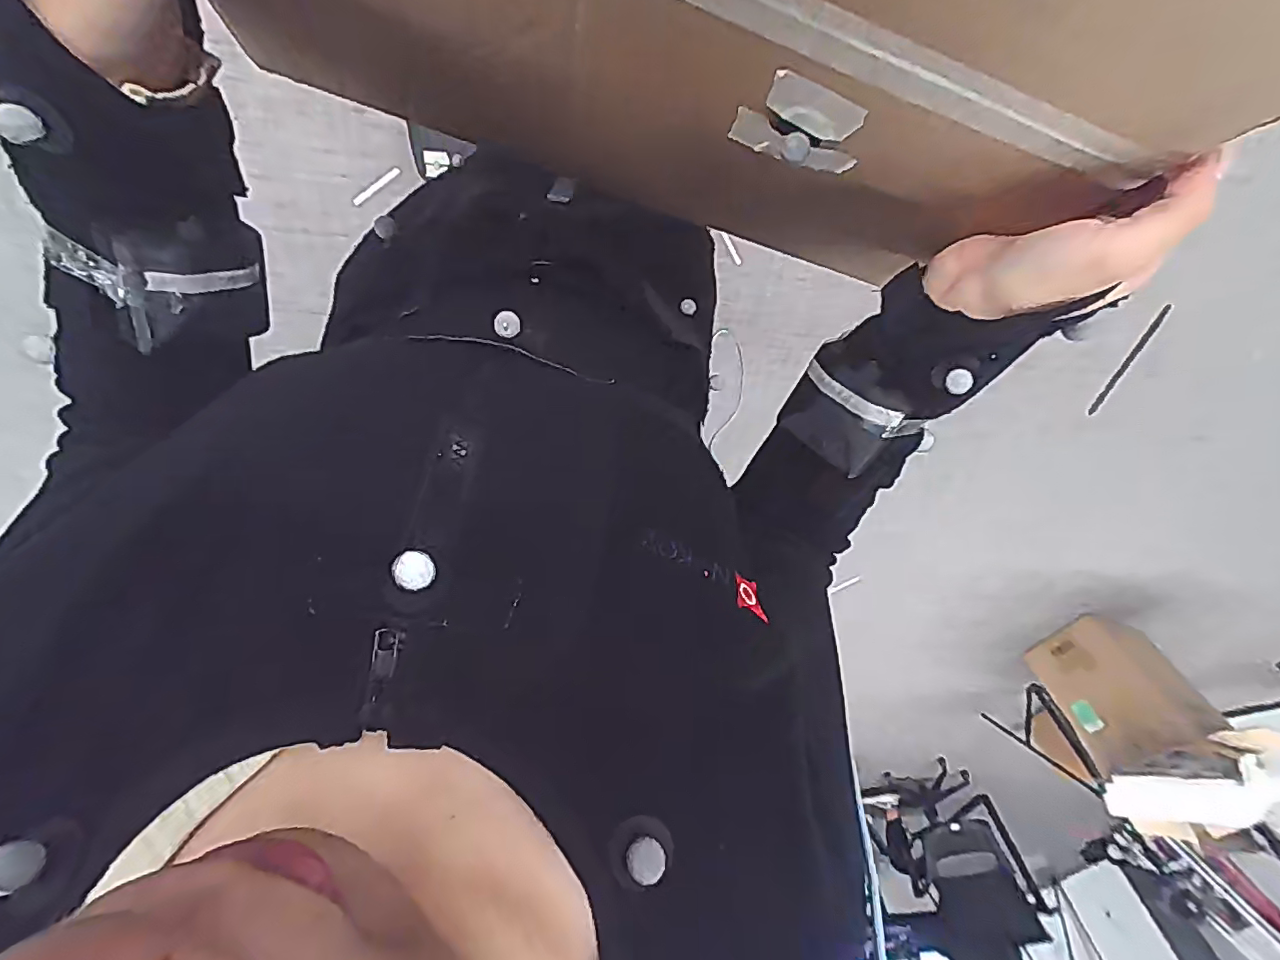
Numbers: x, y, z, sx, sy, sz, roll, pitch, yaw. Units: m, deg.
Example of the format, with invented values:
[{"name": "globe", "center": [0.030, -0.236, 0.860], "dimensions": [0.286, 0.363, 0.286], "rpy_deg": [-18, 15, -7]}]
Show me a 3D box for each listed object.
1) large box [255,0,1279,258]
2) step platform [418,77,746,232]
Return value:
[{"name": "large box", "center": [0.066, -0.326, 0.159], "dimensions": [0.408, 0.320, 0.320], "rpy_deg": [13, 89, -11]}, {"name": "step platform", "center": [-0.090, -0.740, 1.112], "dimensions": [0.684, 0.204, 0.286], "rpy_deg": [7, 128, -13]}]
